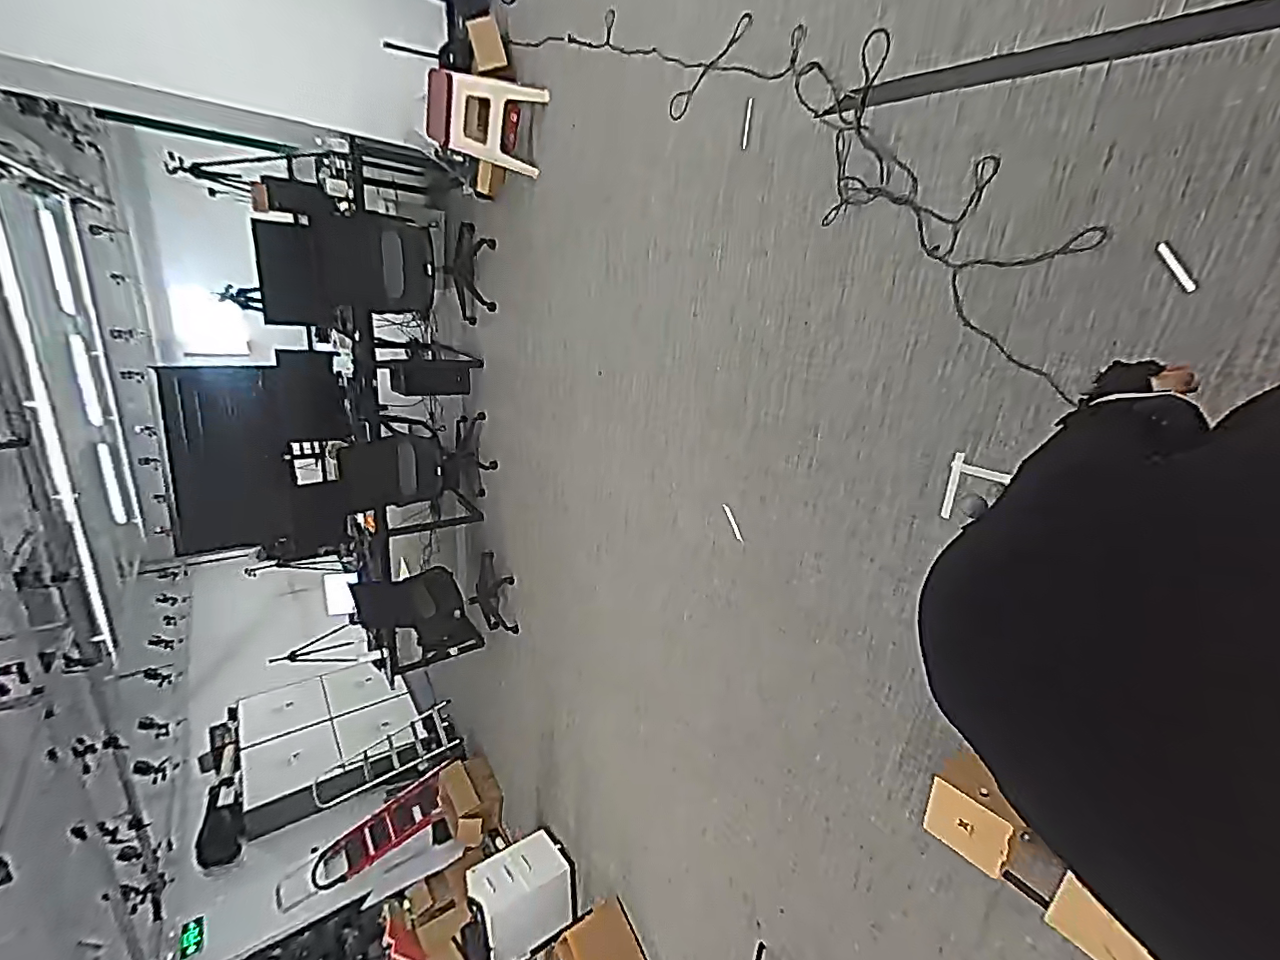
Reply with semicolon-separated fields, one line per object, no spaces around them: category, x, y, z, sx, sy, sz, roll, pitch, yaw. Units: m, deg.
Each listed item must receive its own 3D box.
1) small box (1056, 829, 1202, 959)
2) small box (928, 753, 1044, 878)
small box;1.004;0.889;1.123;0.179;0.176;0.168;29;121;48
small box;0.848;0.808;1.328;0.179;0.176;0.168;22;115;49
